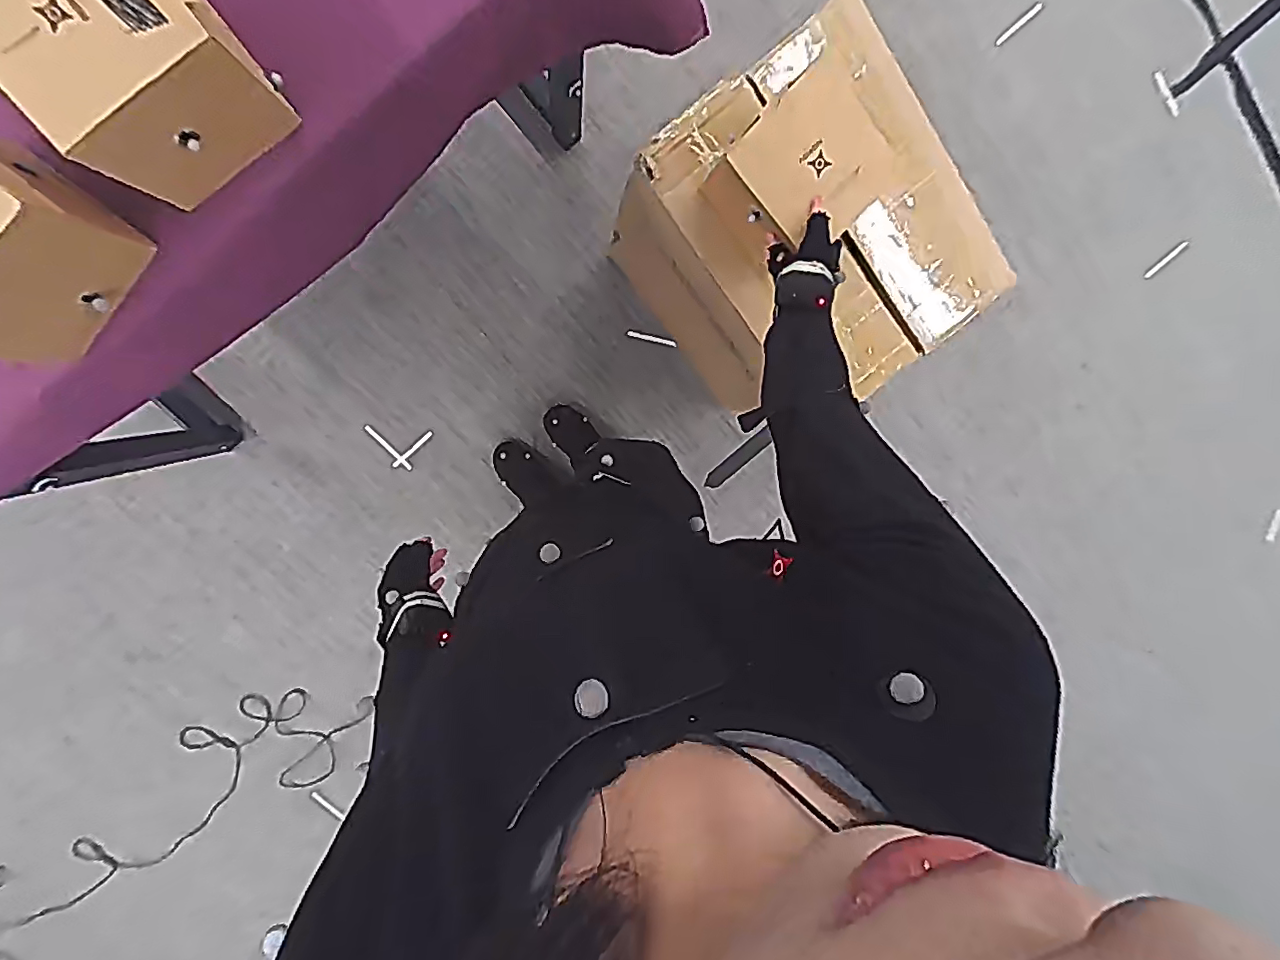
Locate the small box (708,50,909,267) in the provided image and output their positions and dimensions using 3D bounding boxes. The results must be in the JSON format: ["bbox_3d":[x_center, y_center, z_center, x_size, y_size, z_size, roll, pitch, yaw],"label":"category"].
[{"bbox_3d":[0.215,-0.416,0.741,0.168,0.176,0.179,-43,105,9],"label":"small box"}]

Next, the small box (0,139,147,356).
[{"bbox_3d":[-0.674,-0.249,0.554,0.168,0.176,0.179,38,92,-11],"label":"small box"}]

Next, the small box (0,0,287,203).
[{"bbox_3d":[-0.502,-0.422,0.545,0.179,0.176,0.168,-37,101,1],"label":"small box"}]
